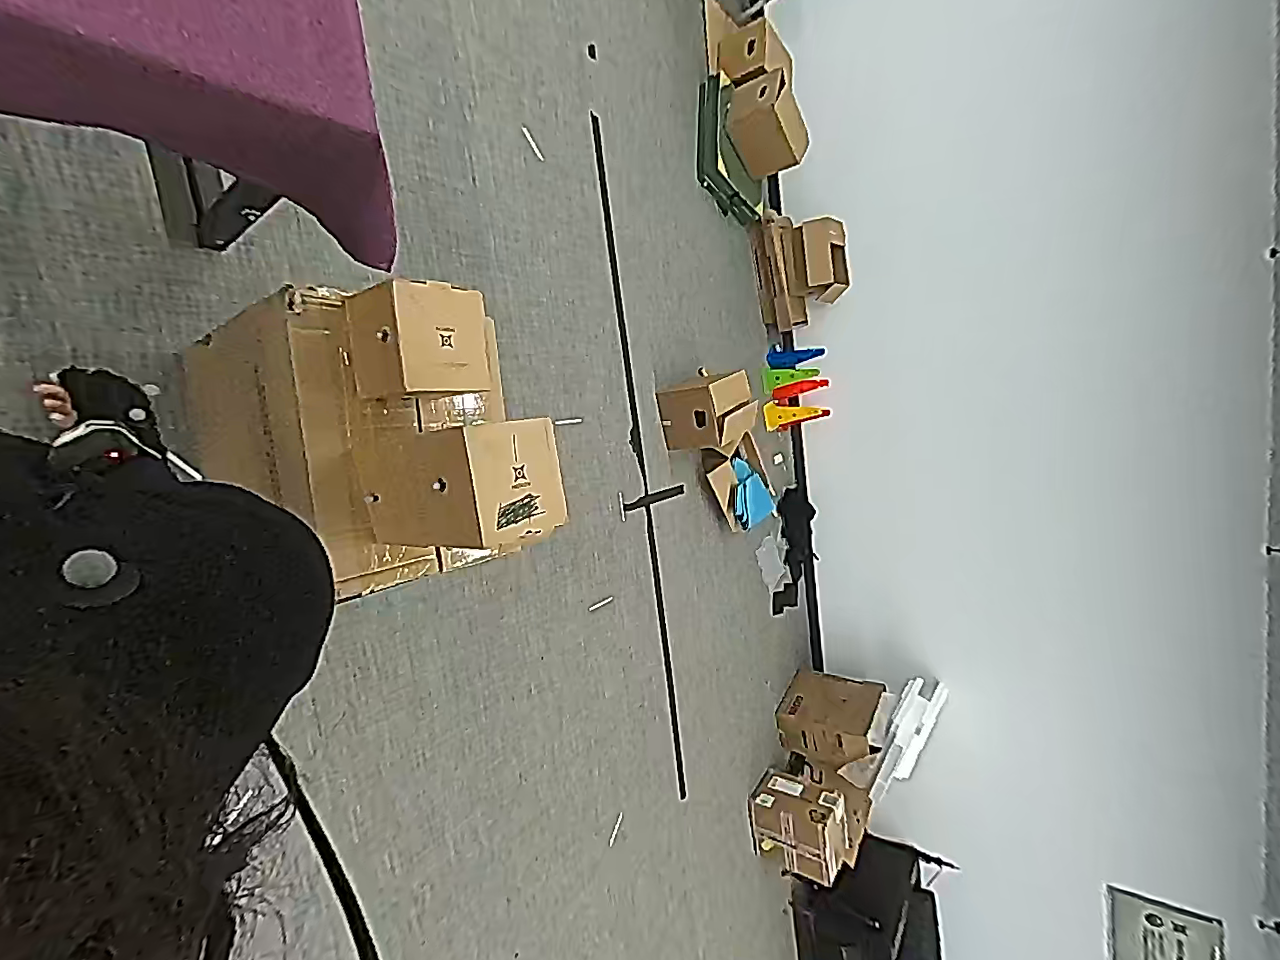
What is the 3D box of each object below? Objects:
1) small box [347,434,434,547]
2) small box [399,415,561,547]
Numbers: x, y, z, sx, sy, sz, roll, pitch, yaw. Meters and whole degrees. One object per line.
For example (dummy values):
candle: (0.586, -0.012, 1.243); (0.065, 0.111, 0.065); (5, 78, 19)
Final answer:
small box: (-0.378, 0.004, 0.947); (0.168, 0.176, 0.179); (-23, 106, -50)
small box: (-0.249, -0.002, 0.843); (0.168, 0.176, 0.179); (-15, 98, -51)
